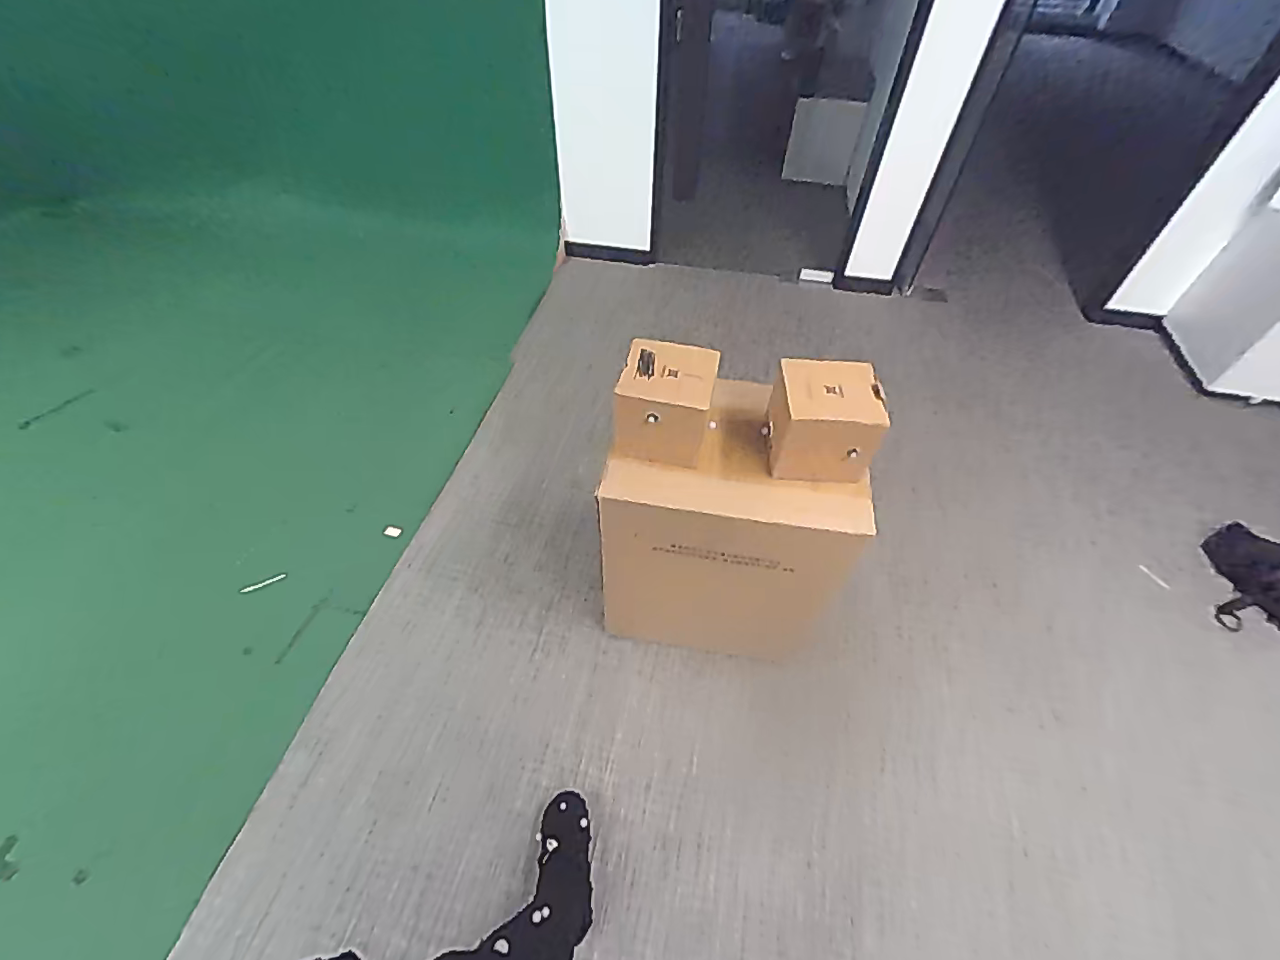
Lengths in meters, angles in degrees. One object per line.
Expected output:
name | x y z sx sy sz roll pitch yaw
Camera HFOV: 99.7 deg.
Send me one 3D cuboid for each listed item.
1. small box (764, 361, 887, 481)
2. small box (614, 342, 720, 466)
small box | 0.349 -0.111 1.053 0.179 0.176 0.168 2 51 2
small box | 0.053 -0.148 1.077 0.179 0.176 0.168 11 53 7
